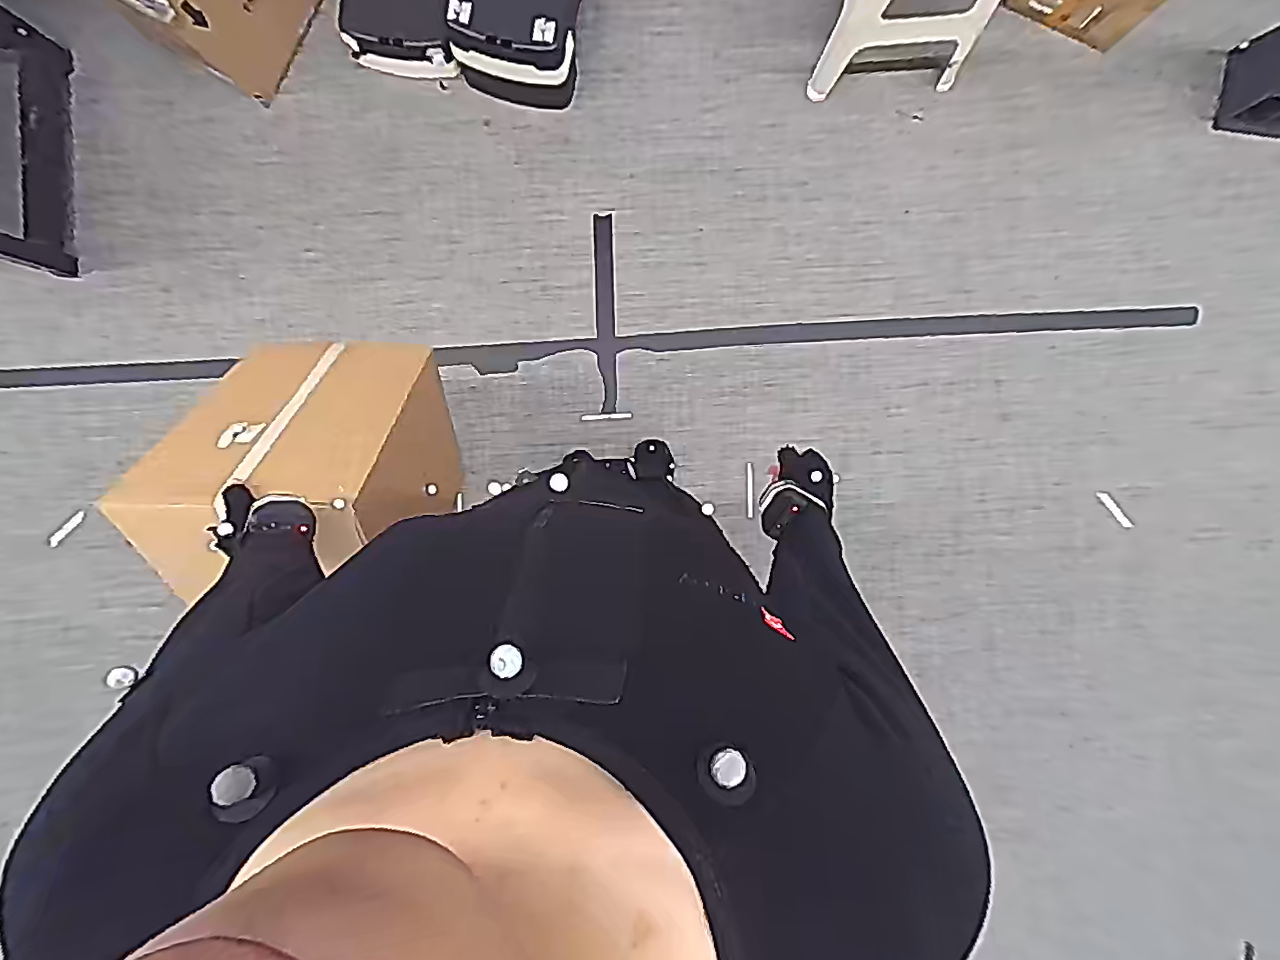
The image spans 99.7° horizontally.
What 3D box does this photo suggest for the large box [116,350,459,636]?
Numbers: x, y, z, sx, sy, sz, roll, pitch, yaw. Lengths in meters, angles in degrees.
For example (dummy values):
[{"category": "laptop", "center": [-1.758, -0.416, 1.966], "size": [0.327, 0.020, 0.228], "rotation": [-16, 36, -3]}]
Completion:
[{"category": "large box", "center": [-0.529, 0.013, 0.936], "size": [0.320, 0.408, 0.320], "rotation": [0, 132, -2]}]
